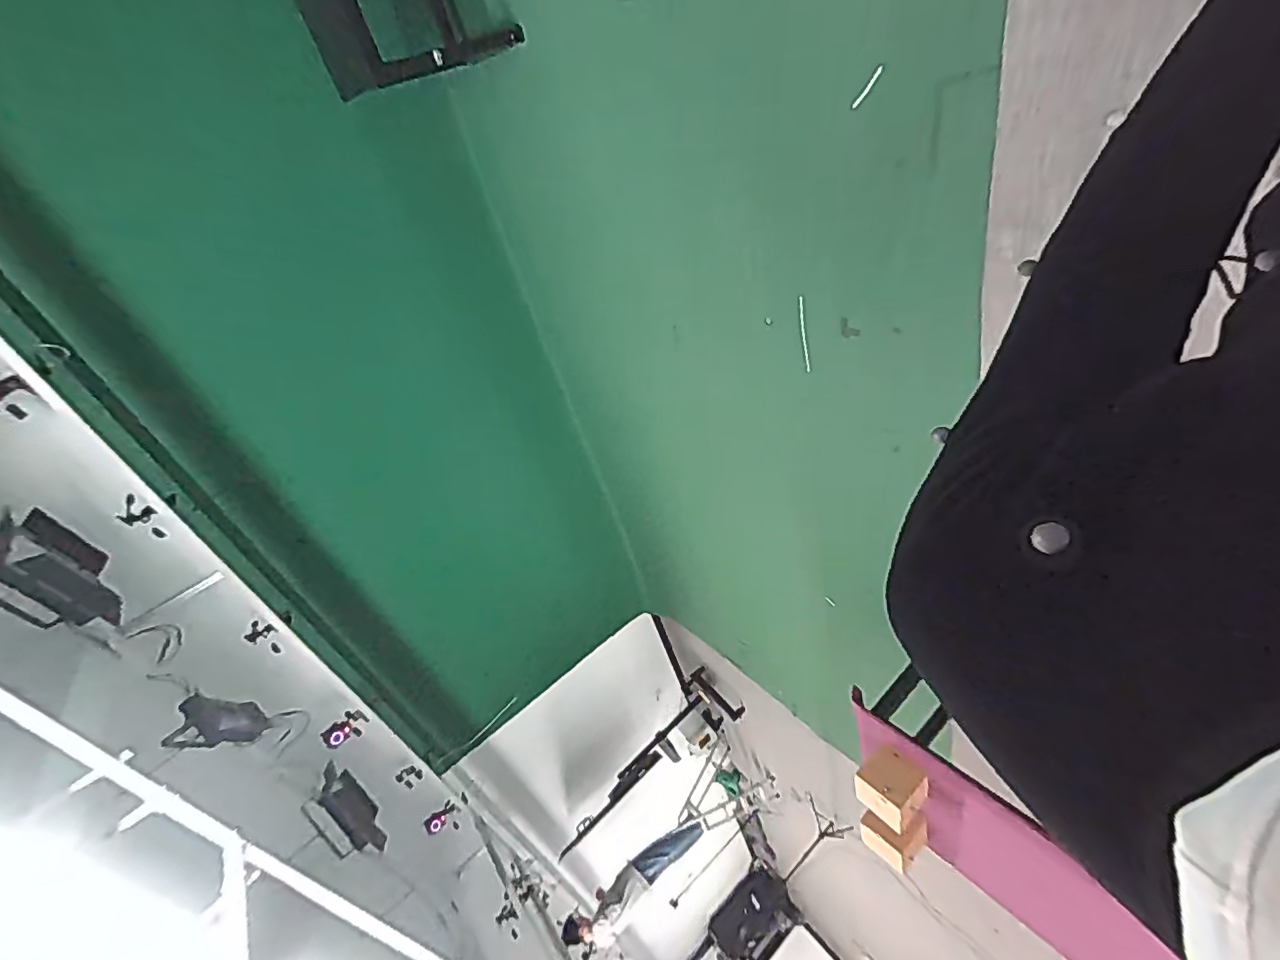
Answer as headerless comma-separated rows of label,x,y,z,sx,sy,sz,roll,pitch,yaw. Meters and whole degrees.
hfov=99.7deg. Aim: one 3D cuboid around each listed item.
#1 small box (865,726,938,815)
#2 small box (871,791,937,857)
small box,0.901,0.992,1.856,0.168,0.176,0.179,28,146,47
small box,1.005,1.268,2.053,0.168,0.176,0.179,24,143,48
